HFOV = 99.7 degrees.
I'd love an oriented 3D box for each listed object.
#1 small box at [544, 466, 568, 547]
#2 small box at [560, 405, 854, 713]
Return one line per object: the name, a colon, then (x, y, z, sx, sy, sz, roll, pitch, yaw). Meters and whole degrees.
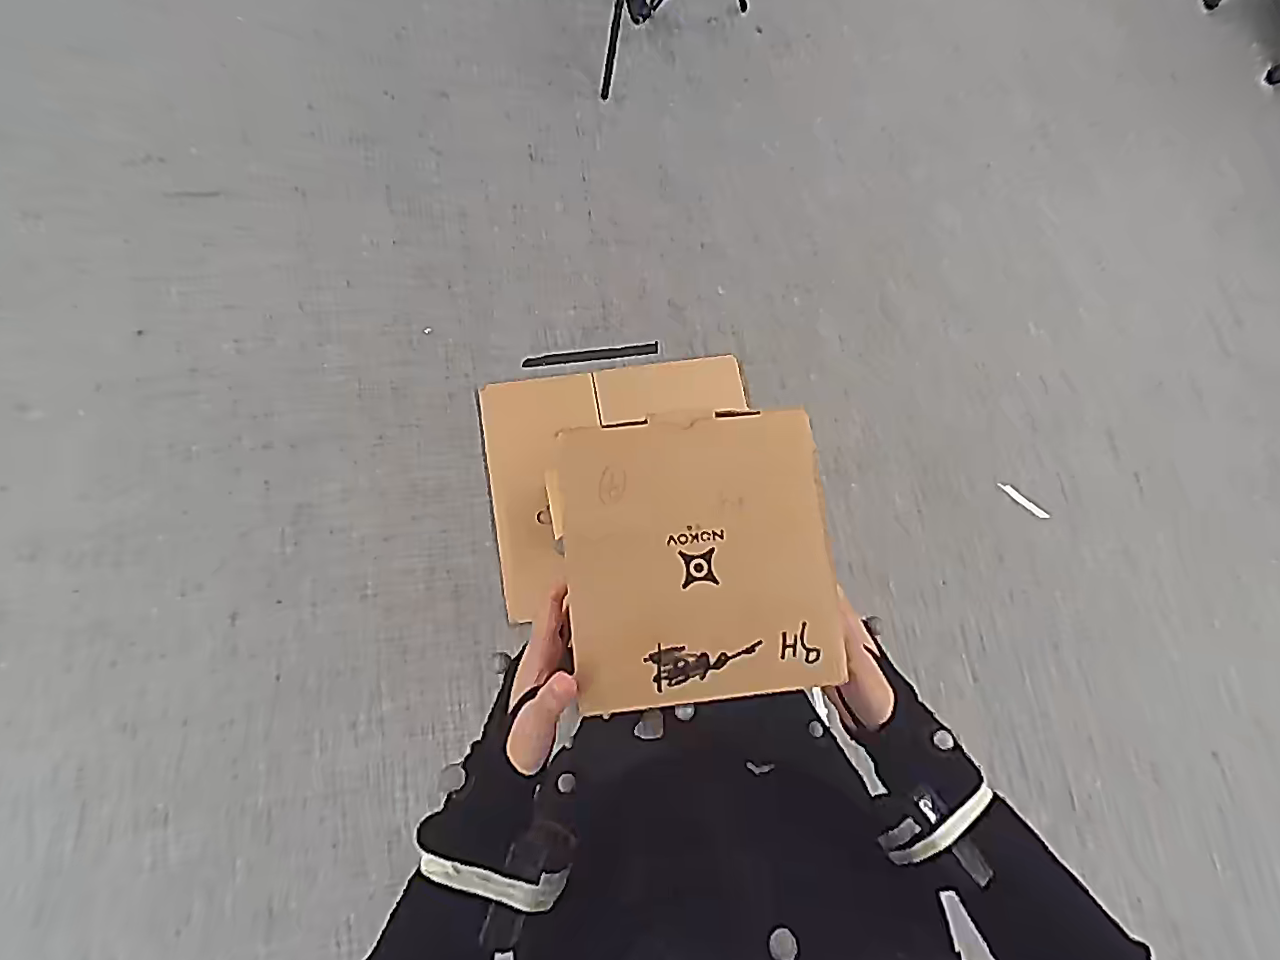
small box: (-0.126, 0.060, 1.273, 0.168, 0.176, 0.179, -11, 80, -8)
small box: (0.036, 0.058, 0.409, 0.168, 0.176, 0.179, -7, 81, -1)
